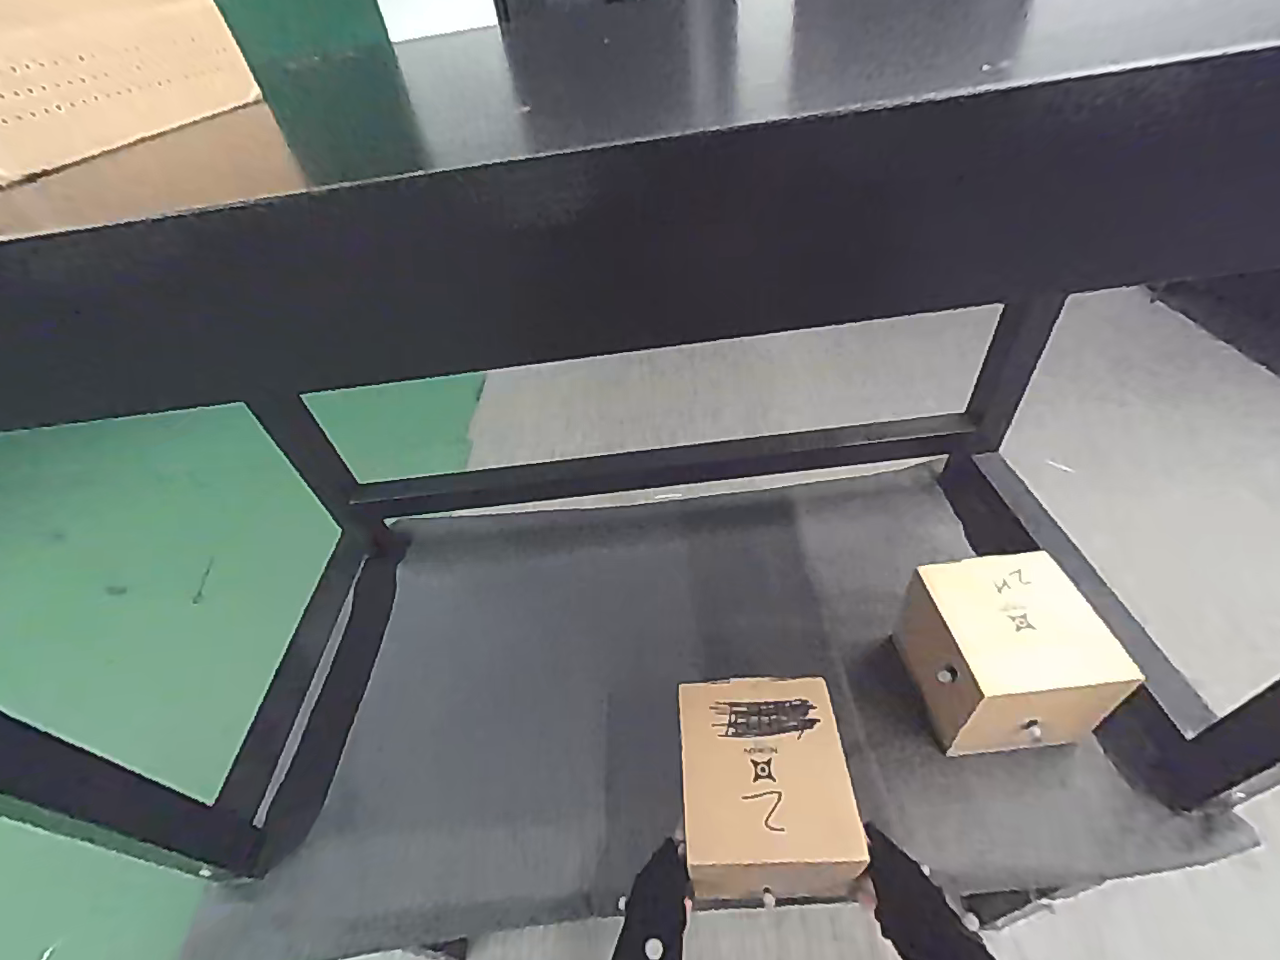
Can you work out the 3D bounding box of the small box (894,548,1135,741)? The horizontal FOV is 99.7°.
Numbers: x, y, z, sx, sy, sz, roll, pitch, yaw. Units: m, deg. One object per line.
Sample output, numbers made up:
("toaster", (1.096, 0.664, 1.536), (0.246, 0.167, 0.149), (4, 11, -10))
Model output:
("small box", (0.448, 0.213, 0.686), (0.168, 0.176, 0.179), (-7, 43, 3))
